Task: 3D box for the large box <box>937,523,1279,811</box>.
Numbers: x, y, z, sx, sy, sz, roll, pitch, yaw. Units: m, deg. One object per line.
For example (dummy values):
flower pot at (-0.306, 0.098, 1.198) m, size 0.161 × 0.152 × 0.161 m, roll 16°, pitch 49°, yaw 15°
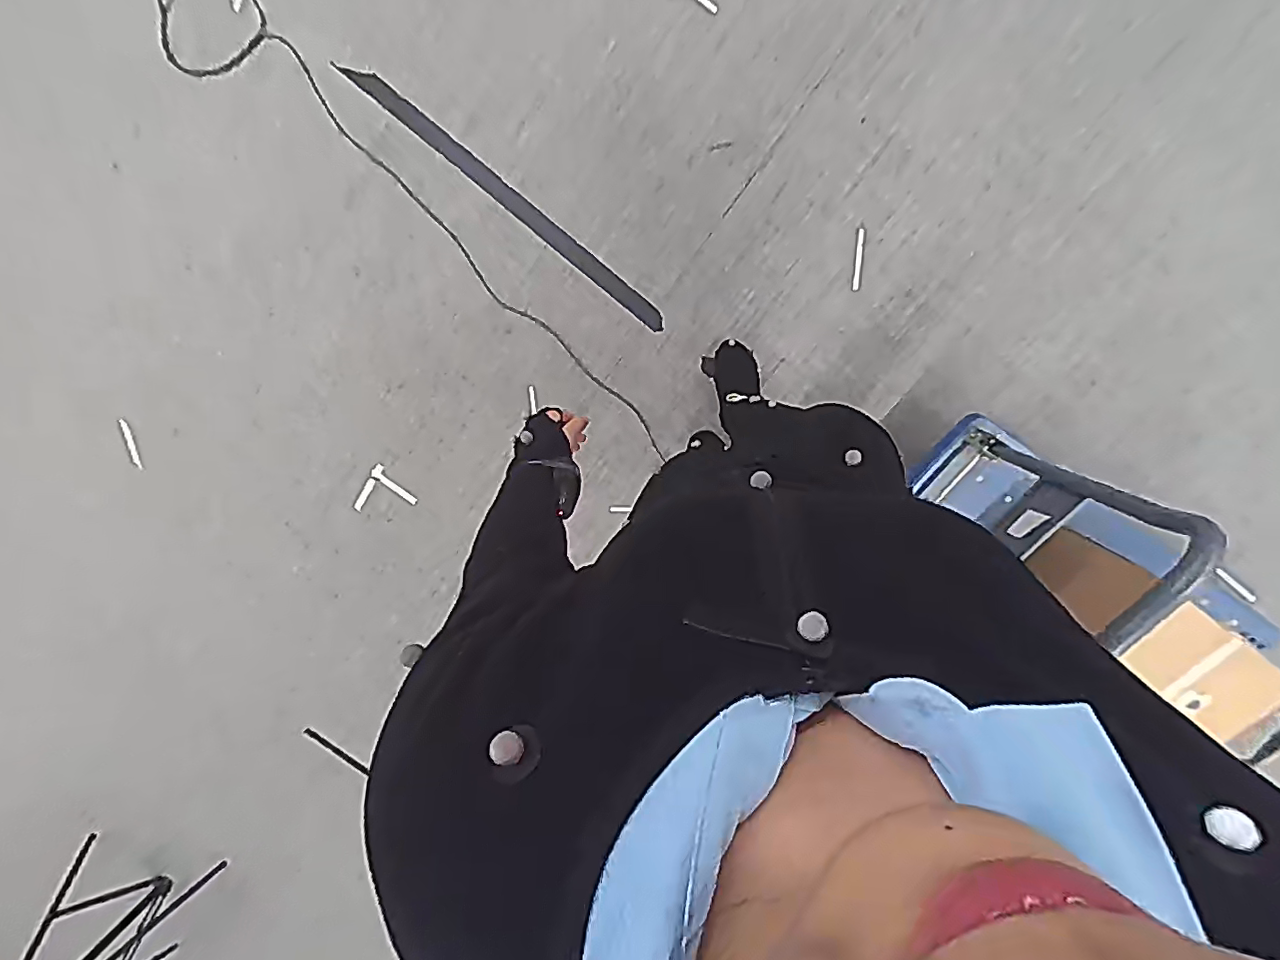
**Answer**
large box at (0.931, 0.367, 1.131) m, size 0.320 × 0.320 × 0.408 m, roll 37°, pitch 106°, yaw -3°
